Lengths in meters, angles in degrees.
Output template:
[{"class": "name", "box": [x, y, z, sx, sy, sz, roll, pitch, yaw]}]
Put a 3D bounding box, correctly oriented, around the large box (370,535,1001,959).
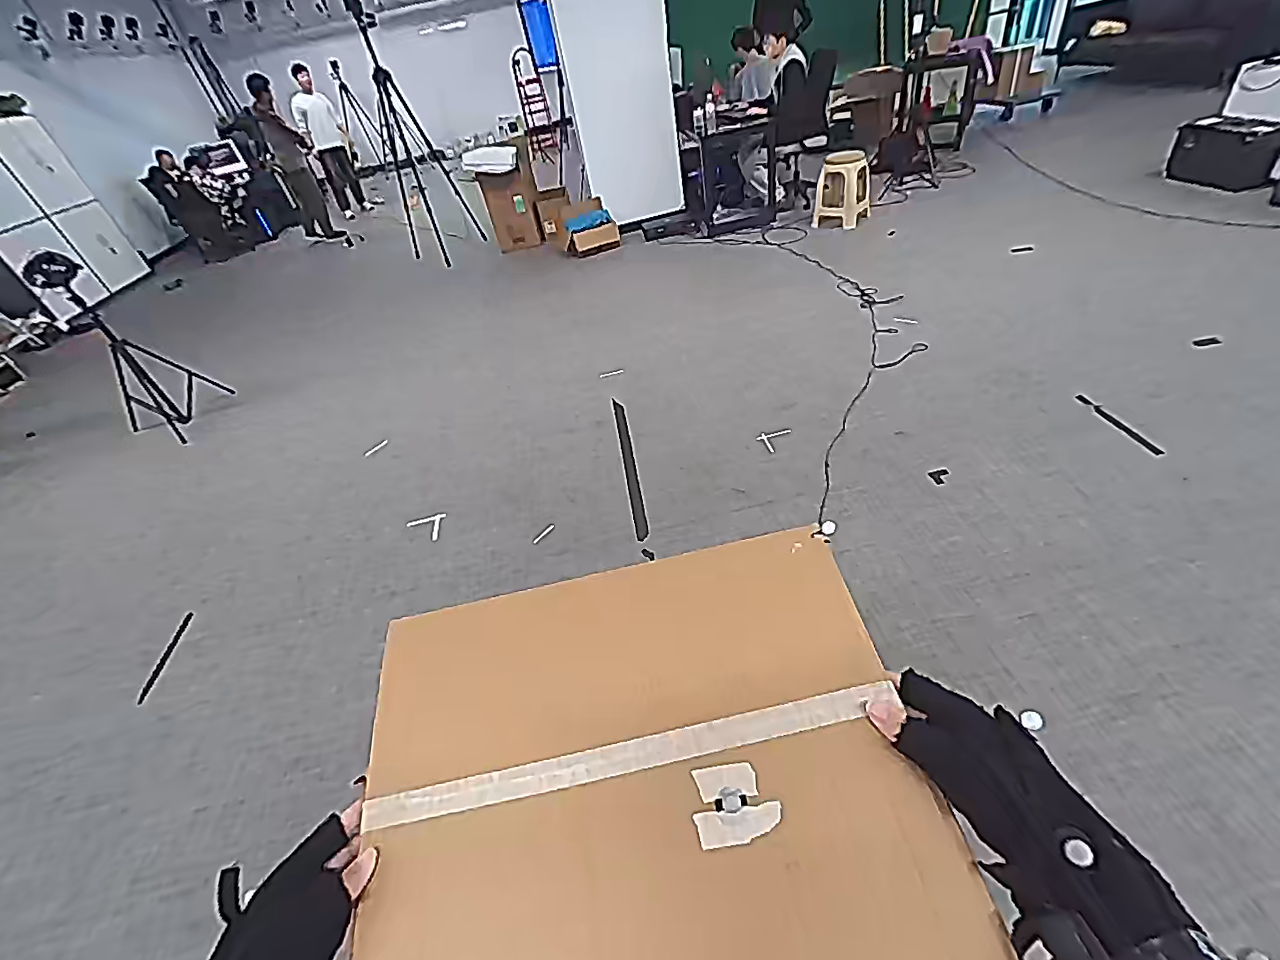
[{"class": "large box", "box": [0.018, 0.304, 0.527, 0.408, 0.320, 0.320, -13, 52, 0]}]
